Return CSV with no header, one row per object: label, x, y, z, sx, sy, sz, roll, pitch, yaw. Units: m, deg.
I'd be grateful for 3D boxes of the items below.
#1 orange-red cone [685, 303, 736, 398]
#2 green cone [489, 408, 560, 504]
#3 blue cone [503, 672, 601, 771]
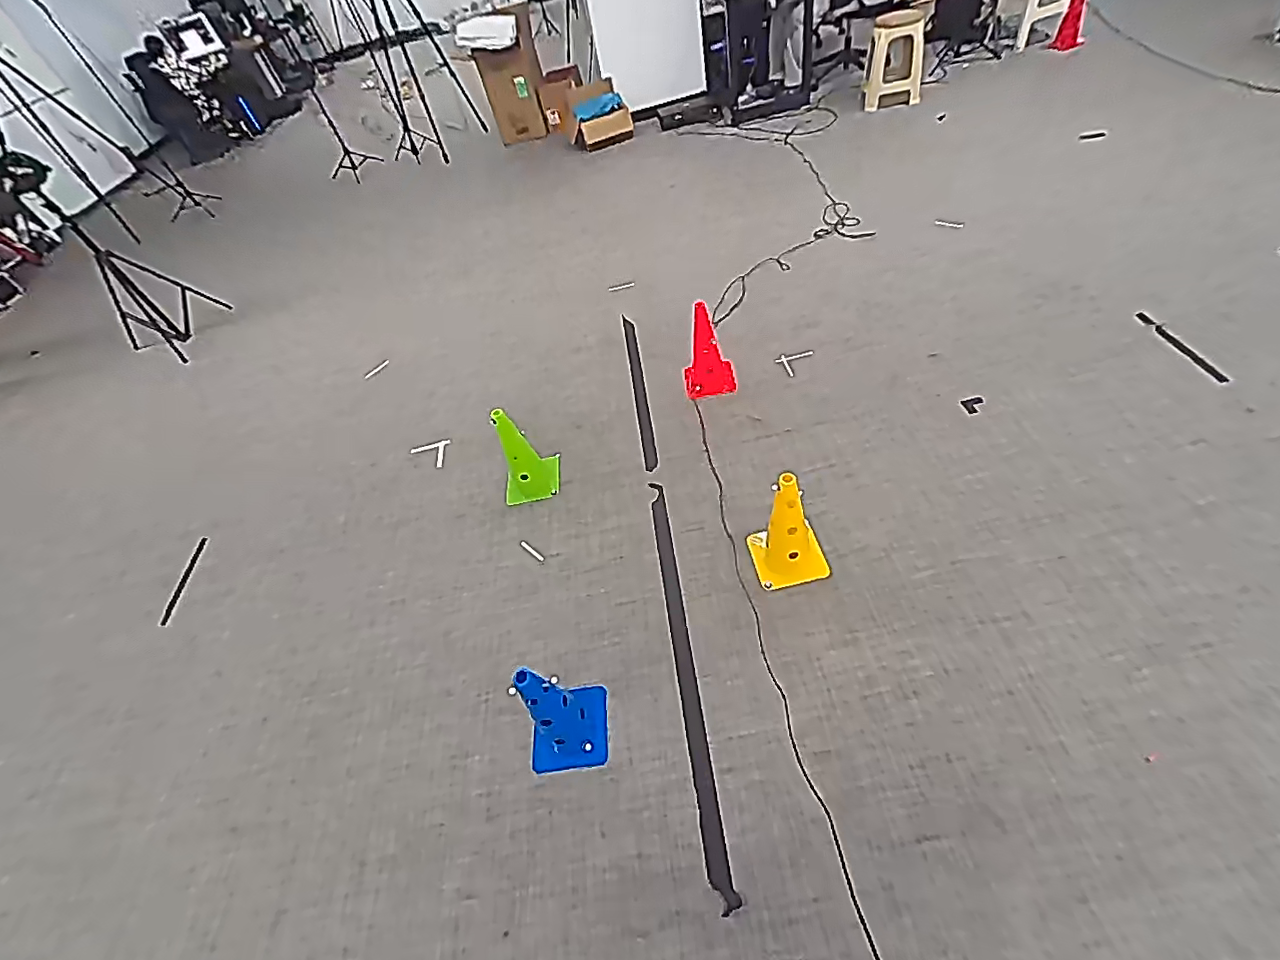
orange-red cone,0.253,-0.516,2.071,0.199,0.360,0.198,-8,50,7
green cone,-0.434,-0.114,1.902,0.202,0.368,0.200,-13,48,5
blue cone,-0.228,0.545,1.295,0.192,0.380,0.193,-10,48,8
